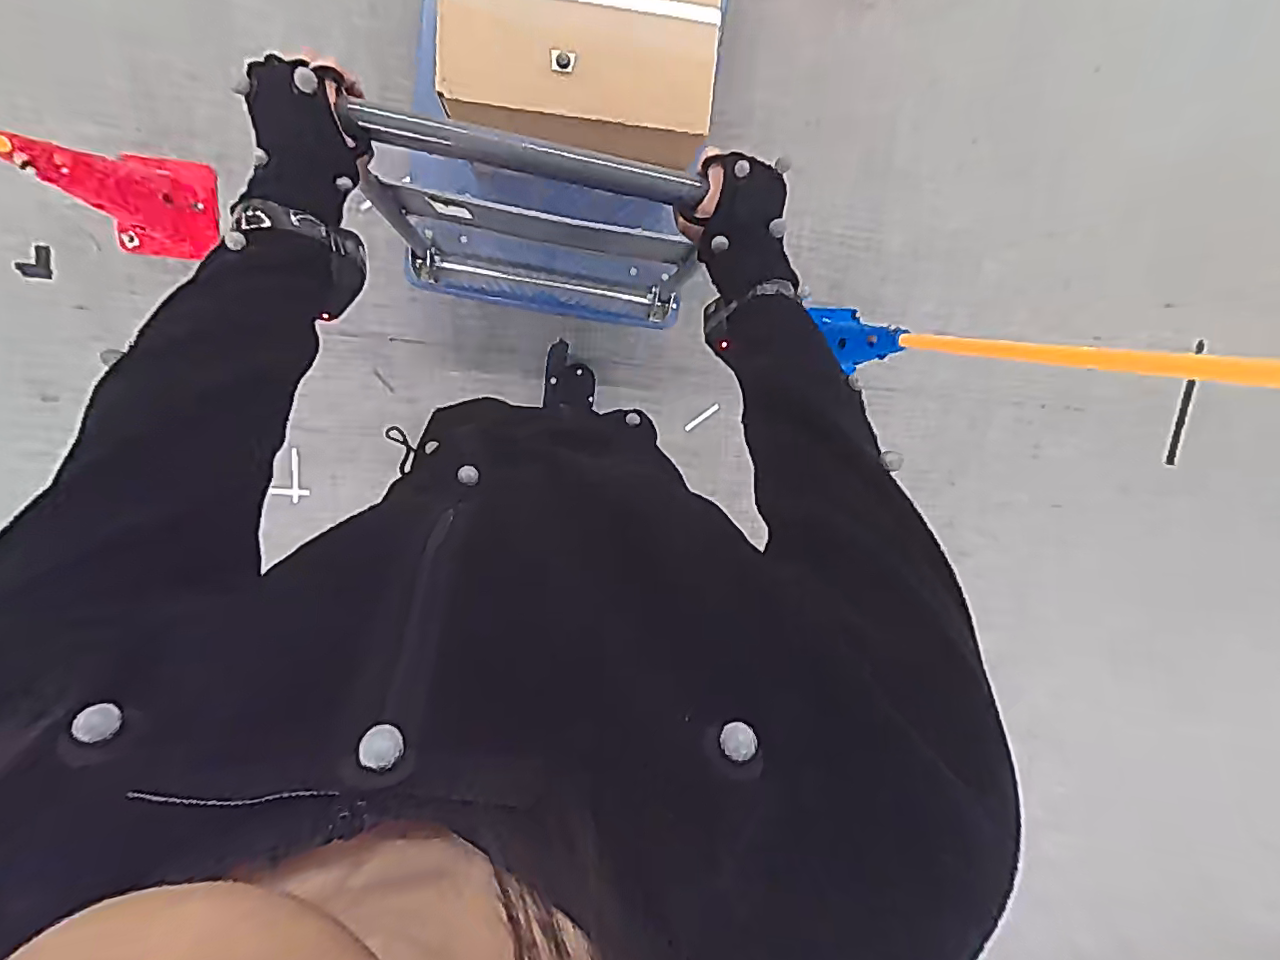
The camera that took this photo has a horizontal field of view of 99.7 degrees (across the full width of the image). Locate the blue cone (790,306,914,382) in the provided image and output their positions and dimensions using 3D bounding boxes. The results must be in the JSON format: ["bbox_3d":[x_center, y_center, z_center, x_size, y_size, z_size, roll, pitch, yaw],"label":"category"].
[{"bbox_3d":[0.509,-0.328,1.265,0.193,0.380,0.192,1,100,-8],"label":"blue cone"}]
